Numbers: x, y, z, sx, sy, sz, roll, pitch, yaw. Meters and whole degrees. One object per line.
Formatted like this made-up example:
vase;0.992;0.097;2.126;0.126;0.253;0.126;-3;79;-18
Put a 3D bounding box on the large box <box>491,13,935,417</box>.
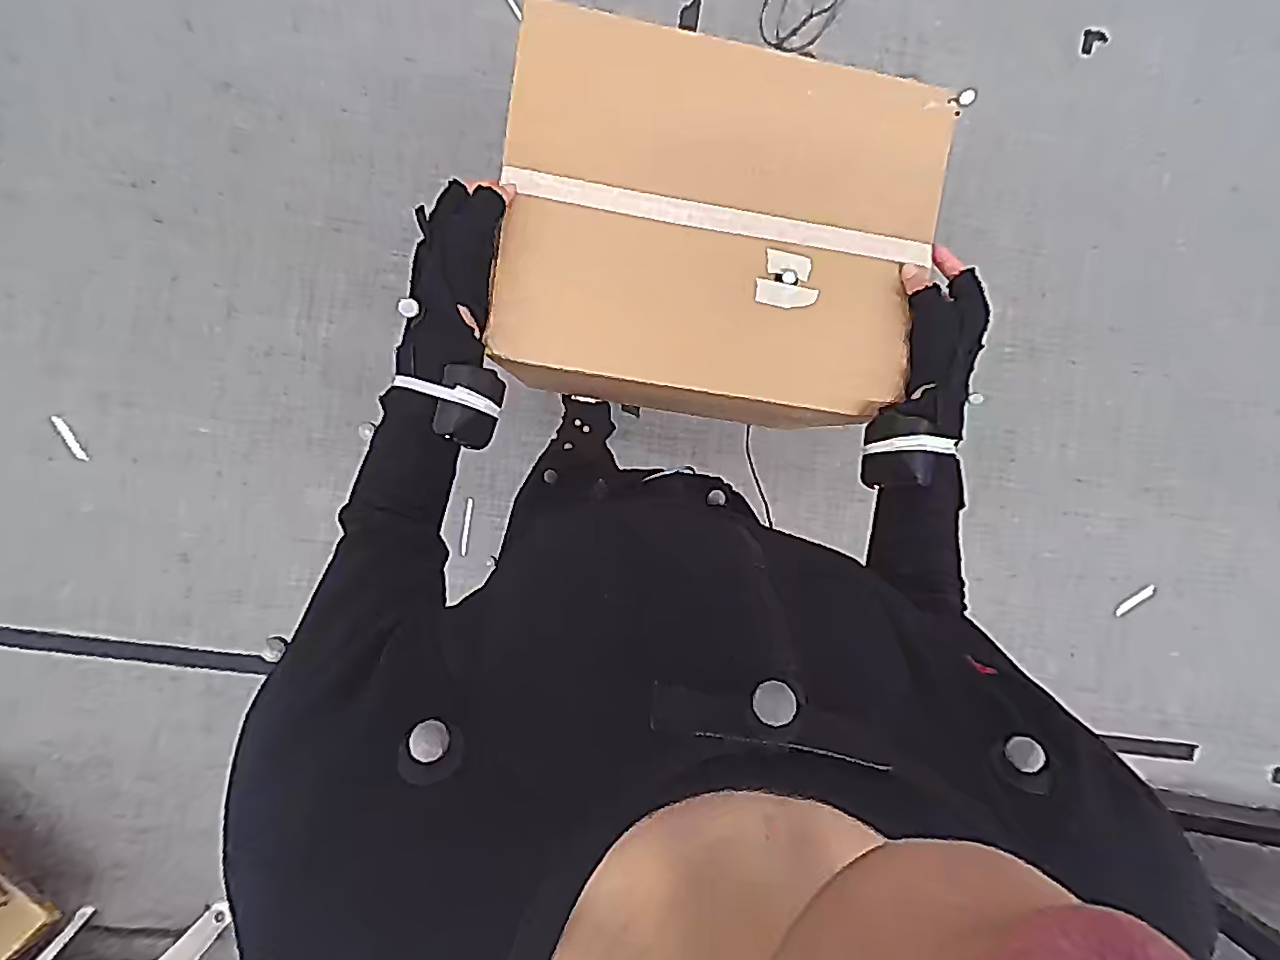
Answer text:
large box;0.059;-0.261;0.663;0.408;0.320;0.320;8;95;-6
